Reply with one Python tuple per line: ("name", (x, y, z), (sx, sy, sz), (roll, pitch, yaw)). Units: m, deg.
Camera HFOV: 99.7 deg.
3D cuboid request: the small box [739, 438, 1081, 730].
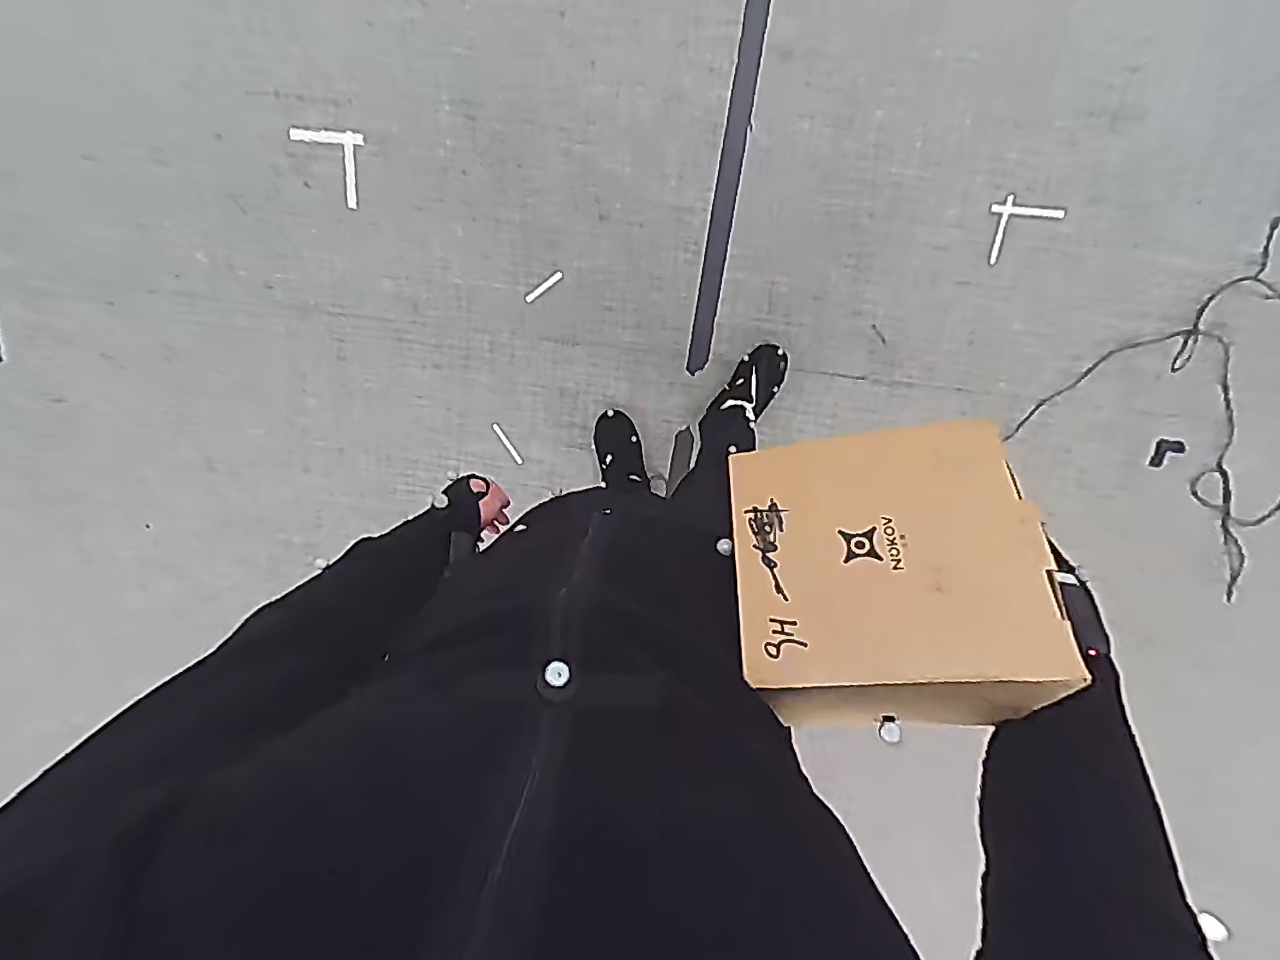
("small box", (0.176, 0.090, 0.413), (0.179, 0.168, 0.176), (-7, 148, 15))
